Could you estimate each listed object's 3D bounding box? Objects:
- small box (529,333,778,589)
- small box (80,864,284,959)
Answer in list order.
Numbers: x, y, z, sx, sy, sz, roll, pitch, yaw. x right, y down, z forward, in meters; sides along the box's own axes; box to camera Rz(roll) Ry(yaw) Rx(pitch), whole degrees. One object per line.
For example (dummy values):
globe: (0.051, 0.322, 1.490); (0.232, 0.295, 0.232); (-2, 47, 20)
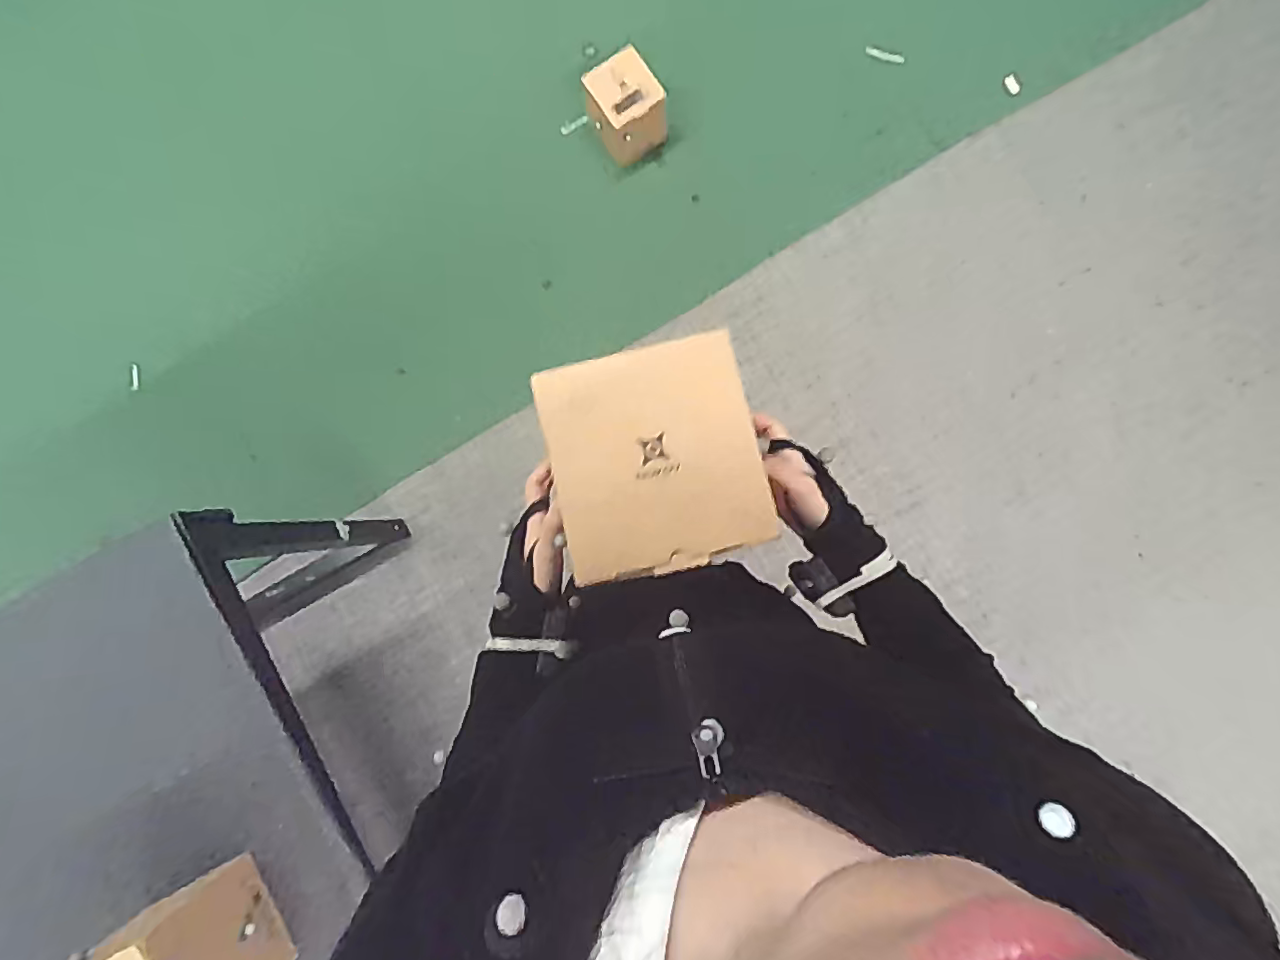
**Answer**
small box: (0.008, -0.009, 0.504); (0.168, 0.176, 0.179); (-15, 85, -1)
small box: (-0.605, 0.643, 0.678); (0.179, 0.176, 0.168); (-30, 86, 0)
